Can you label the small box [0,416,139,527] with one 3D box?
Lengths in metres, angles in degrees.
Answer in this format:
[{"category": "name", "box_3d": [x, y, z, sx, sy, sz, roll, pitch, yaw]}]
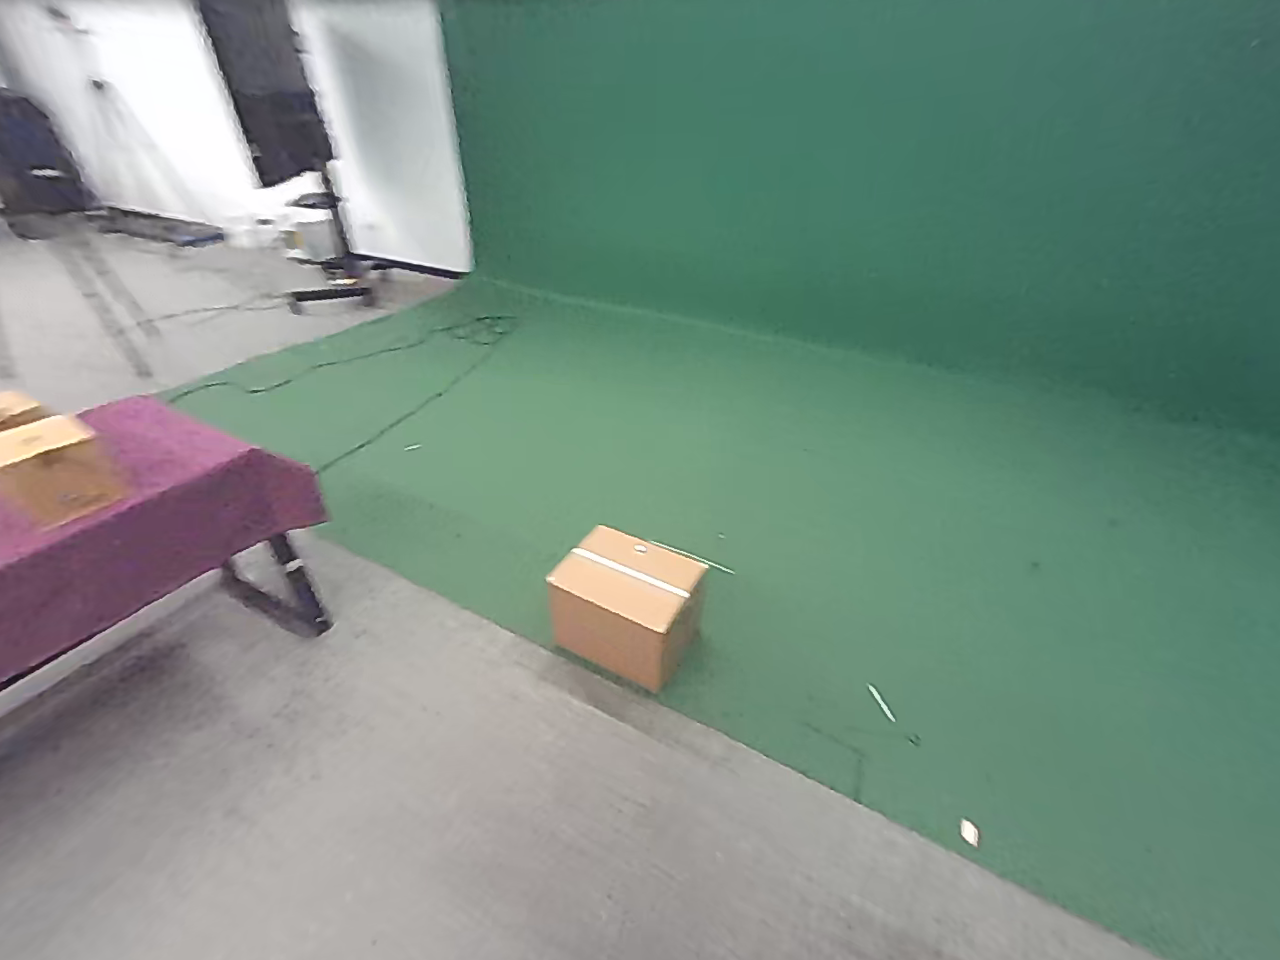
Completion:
[{"category": "small box", "box_3d": [-1.304, -0.019, 1.226, 0.179, 0.176, 0.168, 22, 40, 26]}]
